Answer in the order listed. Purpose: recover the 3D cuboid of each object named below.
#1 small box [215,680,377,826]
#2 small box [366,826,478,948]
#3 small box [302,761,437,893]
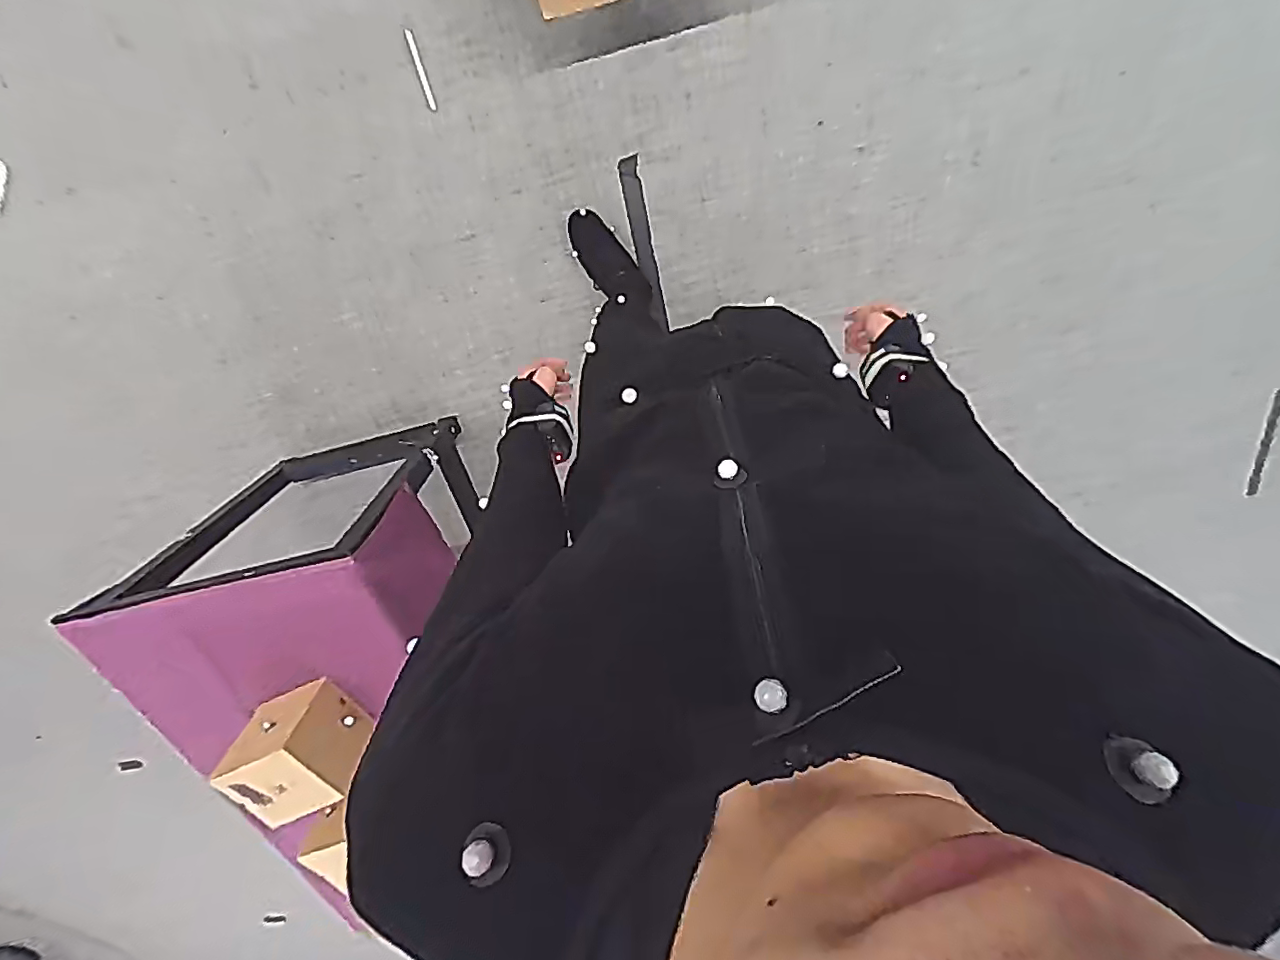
[{"bbox_3d":[-0.664,0.534,1.069,0.179,0.176,0.168,-25,116,10],"label":"small box"},{"bbox_3d":[-0.509,0.973,1.302,0.179,0.176,0.168,-21,115,9],"label":"small box"},{"bbox_3d":[-0.581,0.757,1.189,0.179,0.176,0.168,-22,117,9],"label":"small box"}]
